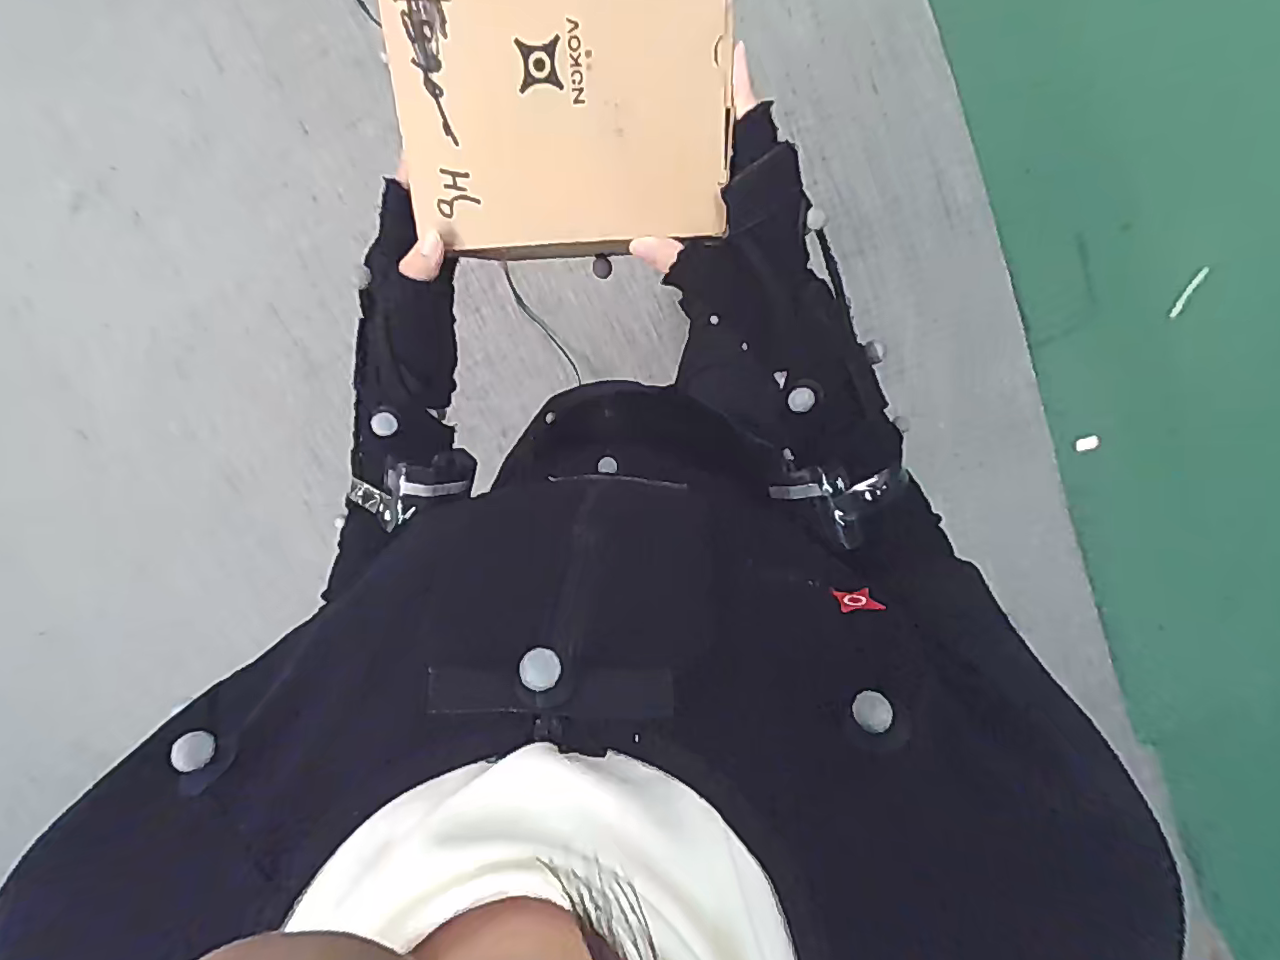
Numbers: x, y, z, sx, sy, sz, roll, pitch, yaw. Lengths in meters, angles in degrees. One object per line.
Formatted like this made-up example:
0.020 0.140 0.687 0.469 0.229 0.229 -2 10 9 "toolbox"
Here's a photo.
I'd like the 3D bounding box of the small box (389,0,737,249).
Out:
-0.036 -0.247 0.350 0.179 0.176 0.168 -2 109 4 "small box"
